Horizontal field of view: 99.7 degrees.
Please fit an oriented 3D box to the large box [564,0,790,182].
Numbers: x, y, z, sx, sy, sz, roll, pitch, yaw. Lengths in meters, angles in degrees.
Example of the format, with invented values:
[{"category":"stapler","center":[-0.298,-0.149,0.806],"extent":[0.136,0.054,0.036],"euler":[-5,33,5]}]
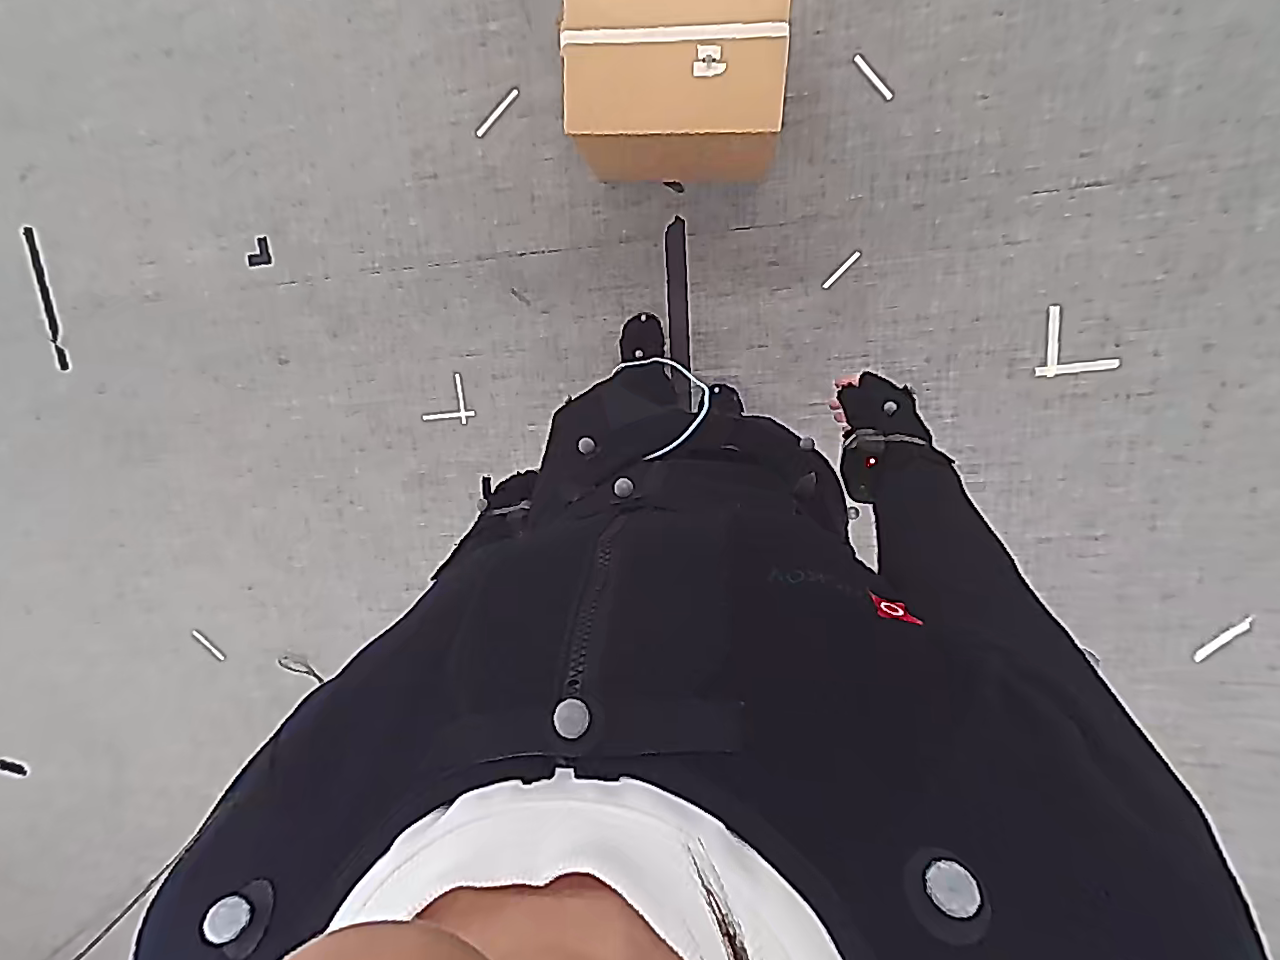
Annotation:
[{"category":"large box","center":[0.075,-0.823,1.102],"extent":[0.408,0.320,0.320],"euler":[4,105,6]}]
